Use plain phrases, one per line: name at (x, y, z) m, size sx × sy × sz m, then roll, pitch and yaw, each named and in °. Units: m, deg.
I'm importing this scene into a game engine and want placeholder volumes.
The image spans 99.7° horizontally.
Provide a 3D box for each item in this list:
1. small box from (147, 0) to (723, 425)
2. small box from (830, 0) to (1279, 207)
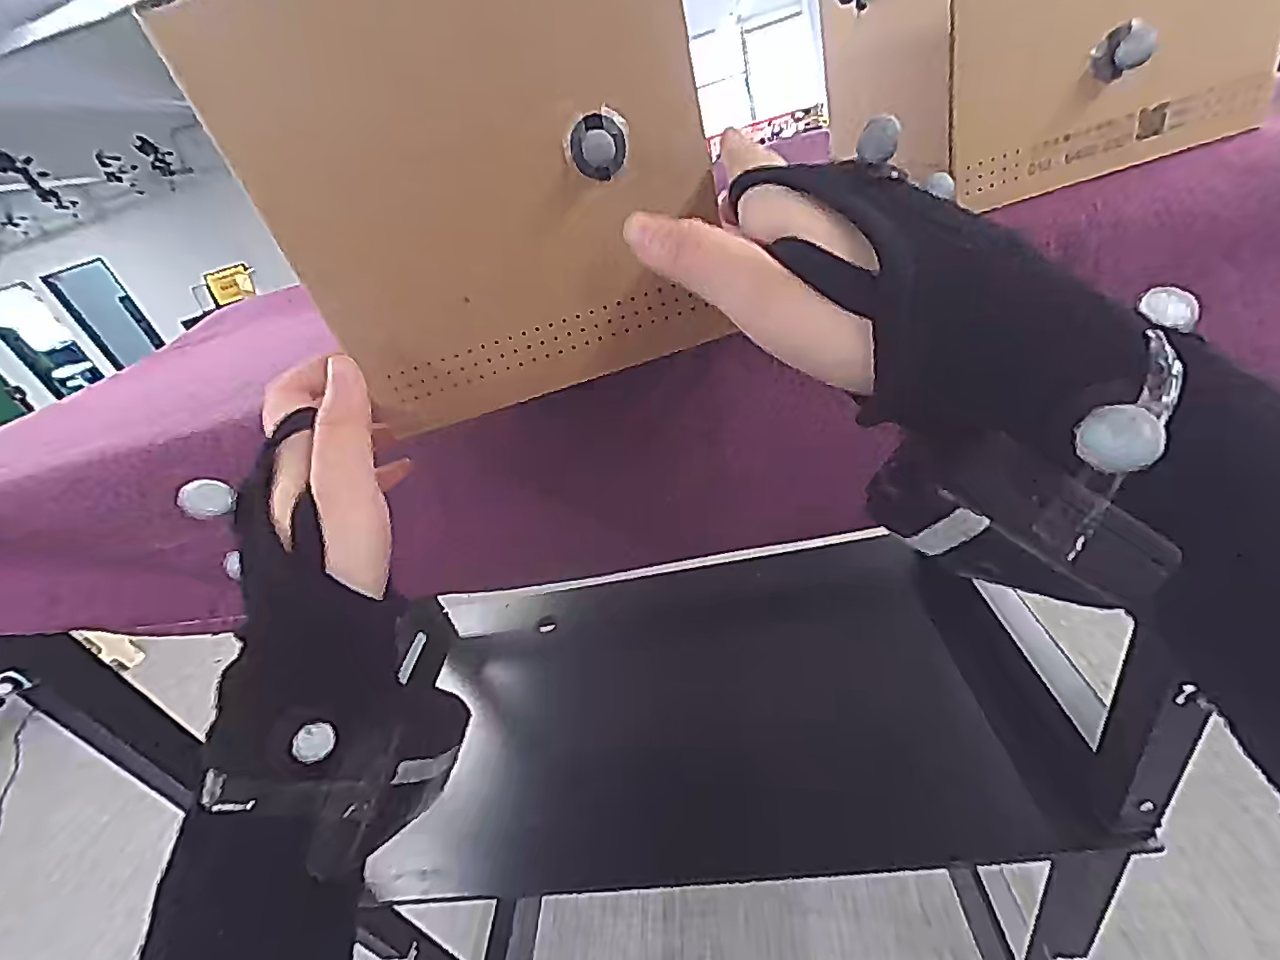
small box at (-0.065, -0.153, 0.278) m, size 0.179 × 0.176 × 0.168 m, roll -18°, pitch 32°, yaw 1°
small box at (0.223, -0.278, 0.325) m, size 0.168 × 0.176 × 0.179 m, roll -16°, pitch 30°, yaw 5°
